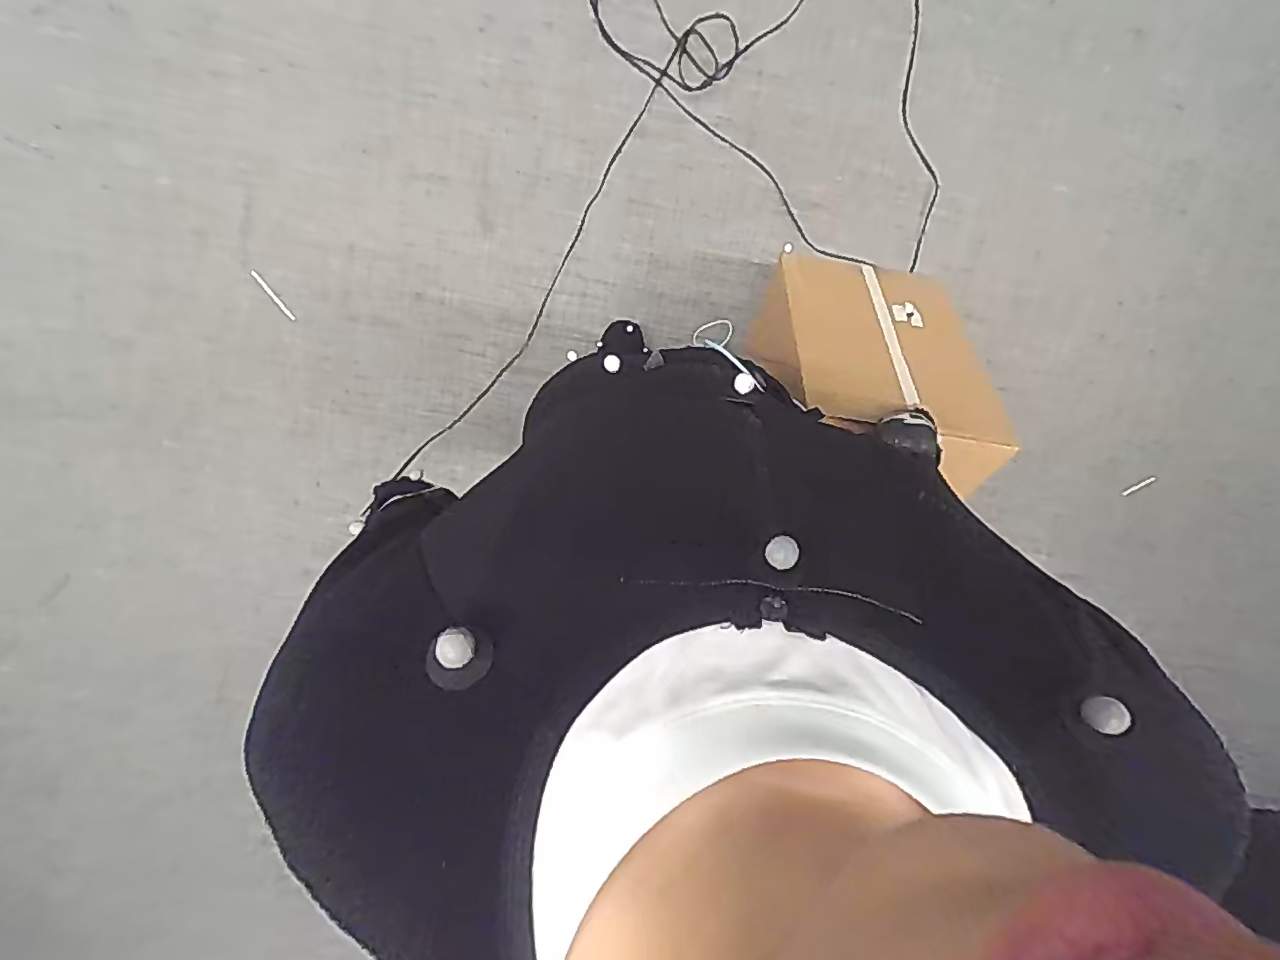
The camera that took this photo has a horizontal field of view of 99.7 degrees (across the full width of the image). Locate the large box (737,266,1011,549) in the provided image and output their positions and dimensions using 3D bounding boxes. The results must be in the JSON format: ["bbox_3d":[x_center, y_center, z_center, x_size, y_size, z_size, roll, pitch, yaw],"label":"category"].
[{"bbox_3d":[0.372,-0.128,0.993,0.320,0.408,0.320,8,142,-4],"label":"large box"}]
